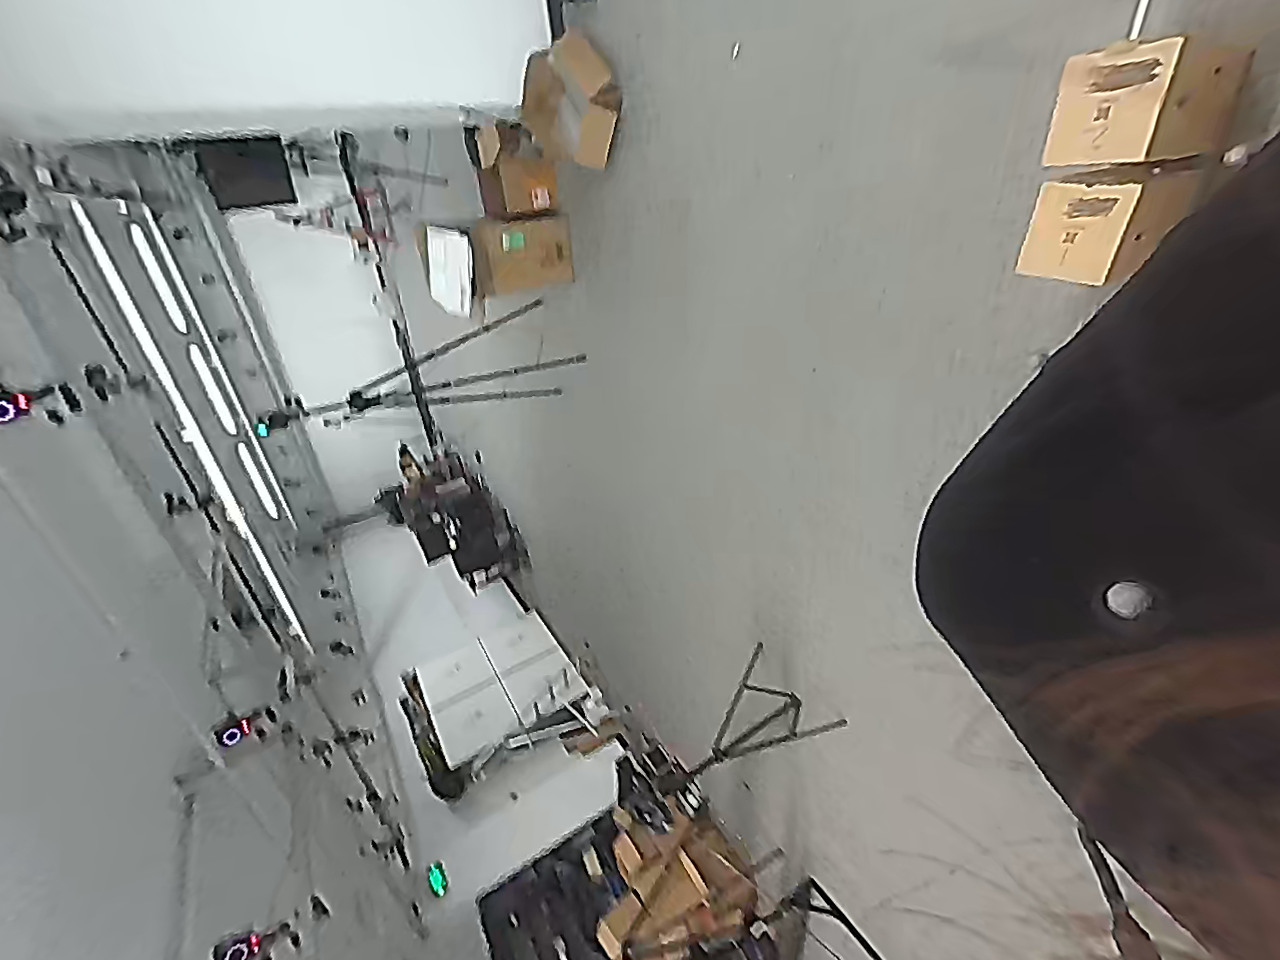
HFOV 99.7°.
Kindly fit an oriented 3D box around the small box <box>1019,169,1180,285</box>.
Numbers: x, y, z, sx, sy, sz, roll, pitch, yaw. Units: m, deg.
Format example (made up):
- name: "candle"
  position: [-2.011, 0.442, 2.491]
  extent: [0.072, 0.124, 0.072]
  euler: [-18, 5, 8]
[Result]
- name: "small box"
  position: [0.909, -0.508, 1.073]
  extent: [0.168, 0.176, 0.179]
  euler: [42, 146, 46]
